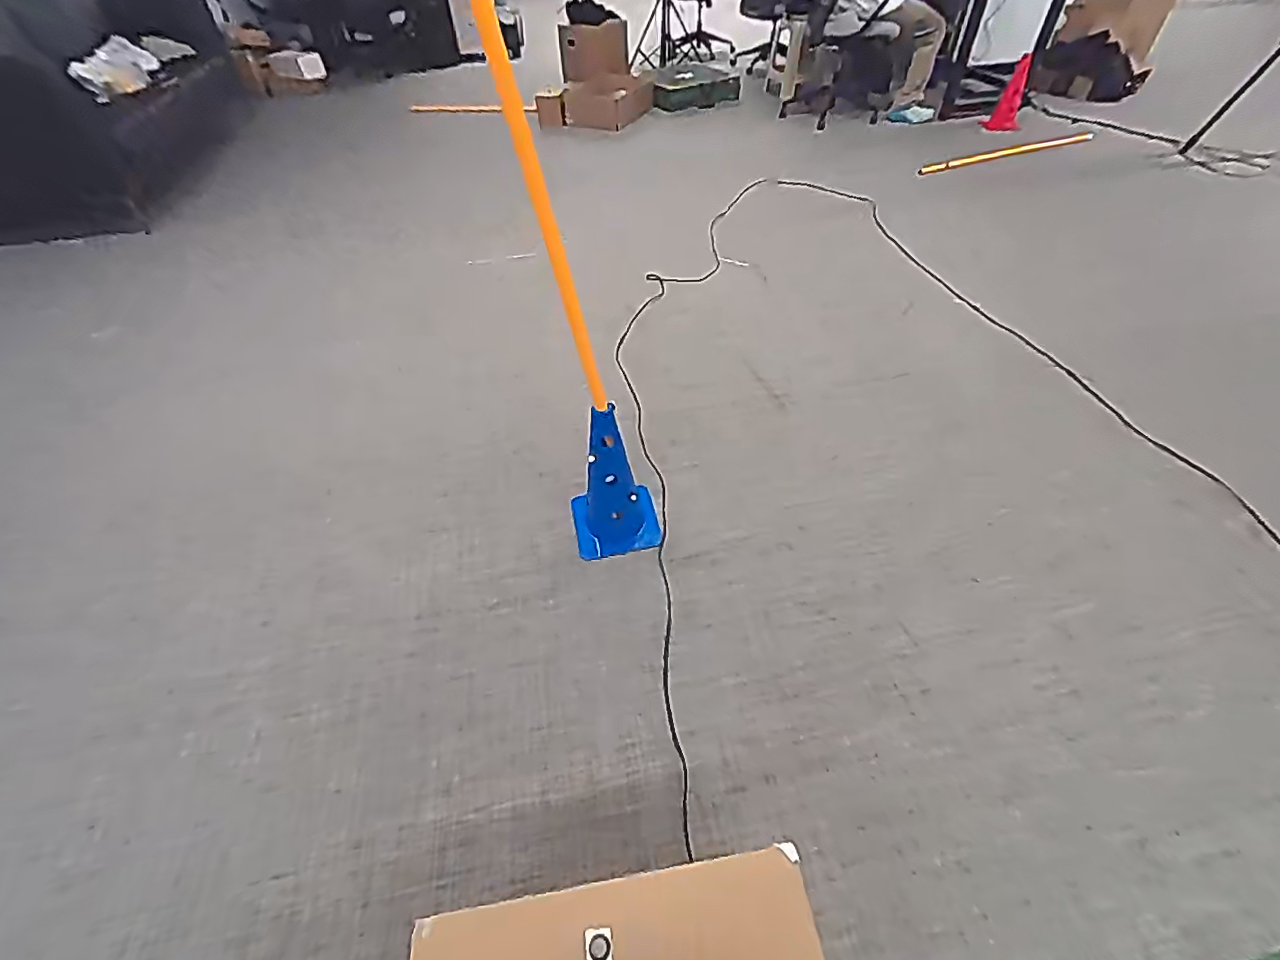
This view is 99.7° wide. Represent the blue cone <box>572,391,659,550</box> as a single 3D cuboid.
[{"bbox_3d":[-0.069,-0.029,1.181,0.193,0.380,0.192,-13,48,-7],"label":"blue cone"}]
